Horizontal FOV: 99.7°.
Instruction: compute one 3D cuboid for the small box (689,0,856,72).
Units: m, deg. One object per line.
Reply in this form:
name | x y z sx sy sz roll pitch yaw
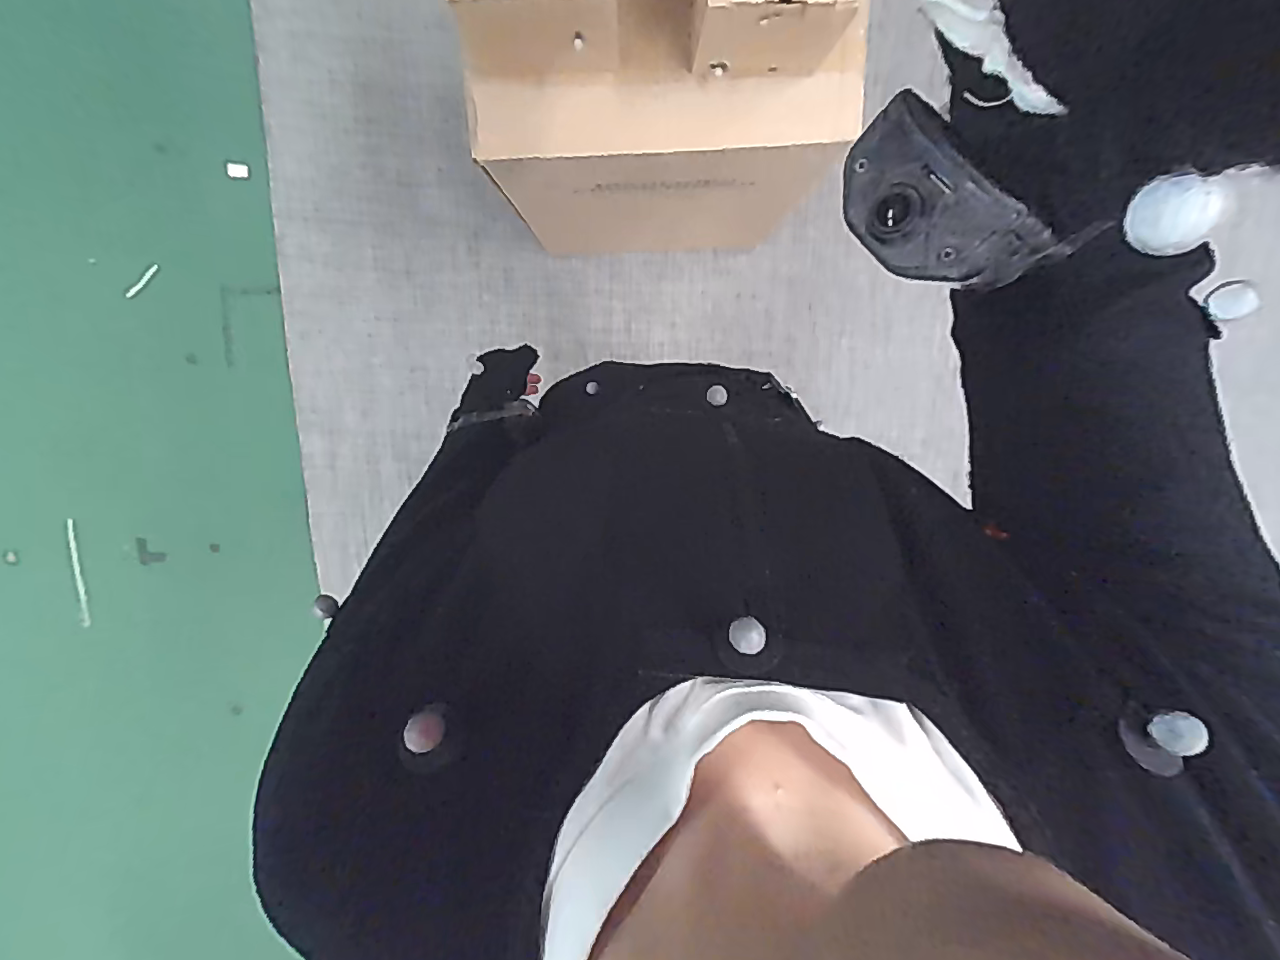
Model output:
small box | 0.146 -0.595 0.611 0.168 0.176 0.179 0 105 0
